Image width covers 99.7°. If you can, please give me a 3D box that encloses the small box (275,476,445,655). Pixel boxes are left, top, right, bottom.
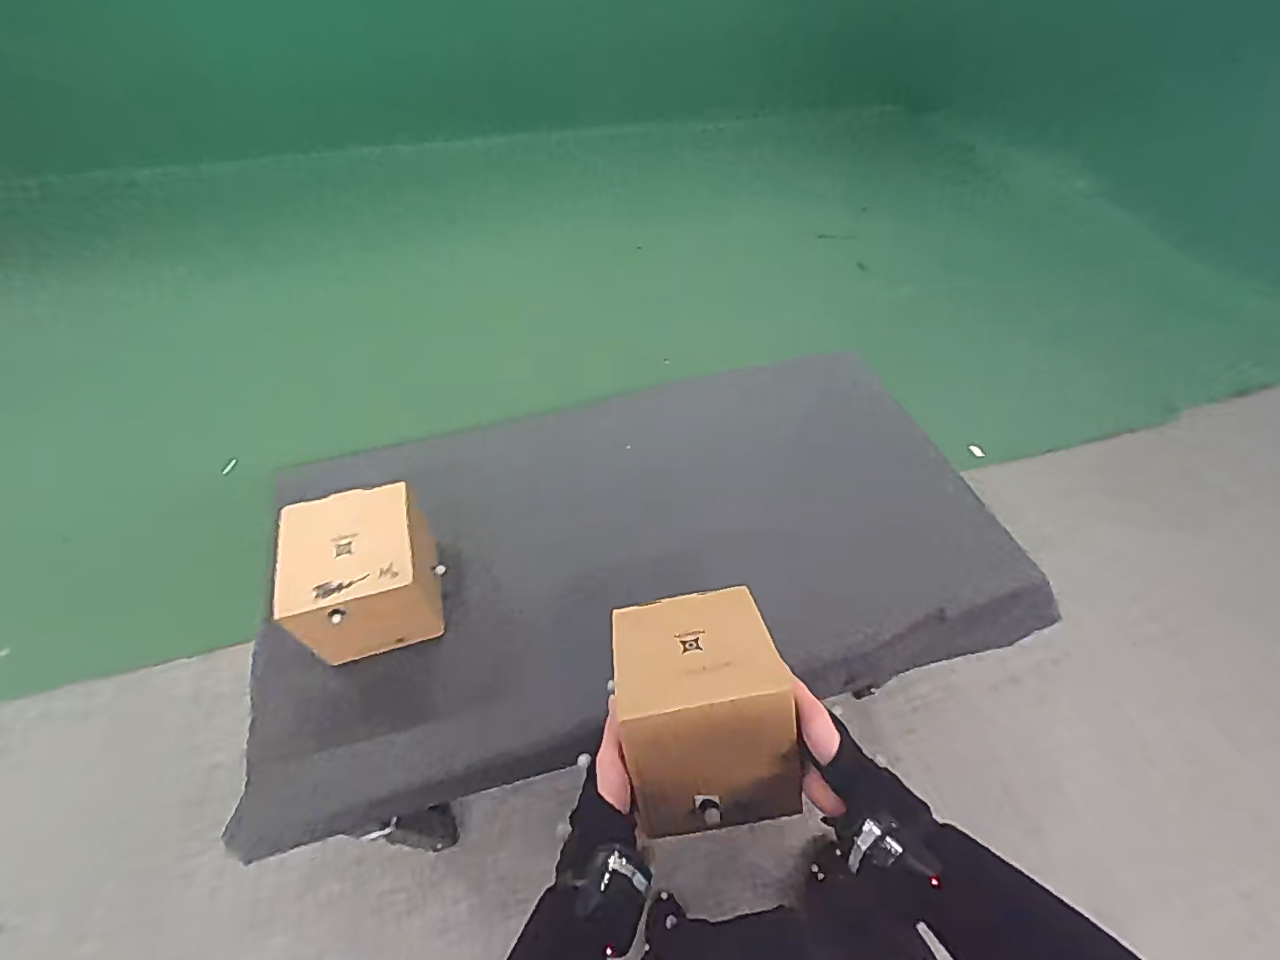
[{"bbox_3d":[-0.392,0.125,0.782,0.168,0.176,0.179,-14,55,-11],"label":"small box"}]

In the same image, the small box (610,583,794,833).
[{"bbox_3d":[0.061,0.241,0.595,0.168,0.176,0.179,-11,22,0],"label":"small box"}]
